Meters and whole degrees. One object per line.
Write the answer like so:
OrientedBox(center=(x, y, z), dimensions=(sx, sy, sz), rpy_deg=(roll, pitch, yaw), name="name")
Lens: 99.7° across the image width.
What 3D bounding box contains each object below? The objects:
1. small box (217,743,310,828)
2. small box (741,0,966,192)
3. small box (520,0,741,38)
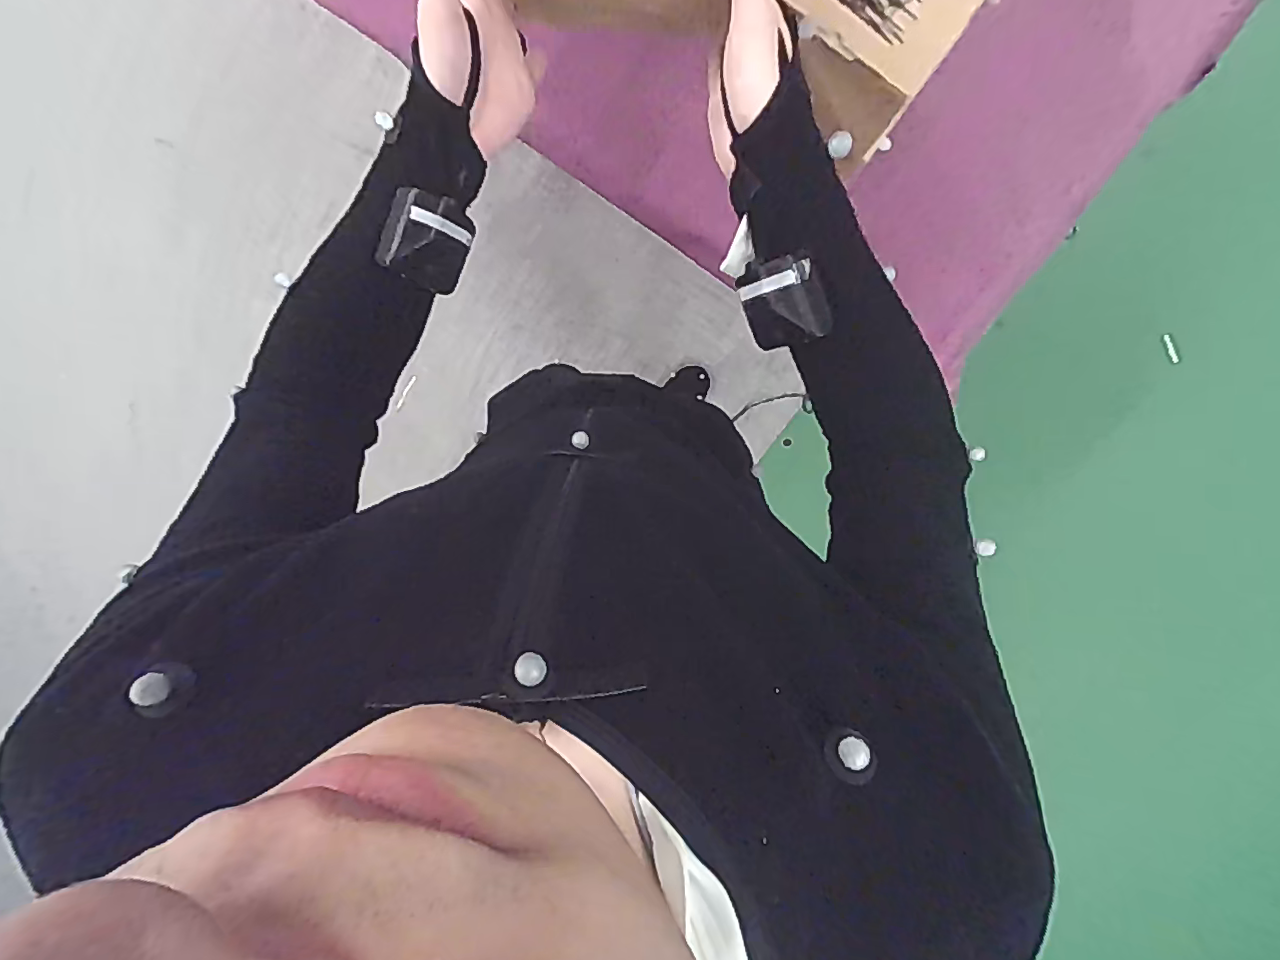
OrientedBox(center=(-1.332, 1.075, 1.923), dimensions=(0.179, 0.176, 0.168), rpy_deg=(43, 103, -5), name="small box")
OrientedBox(center=(0.243, -0.495, 0.670), dimensions=(0.179, 0.176, 0.168), rpy_deg=(36, 104, -4), name="small box")
OrientedBox(center=(-0.014, -0.415, 0.342), dimensions=(0.179, 0.176, 0.168), rpy_deg=(10, 112, 7), name="small box")
